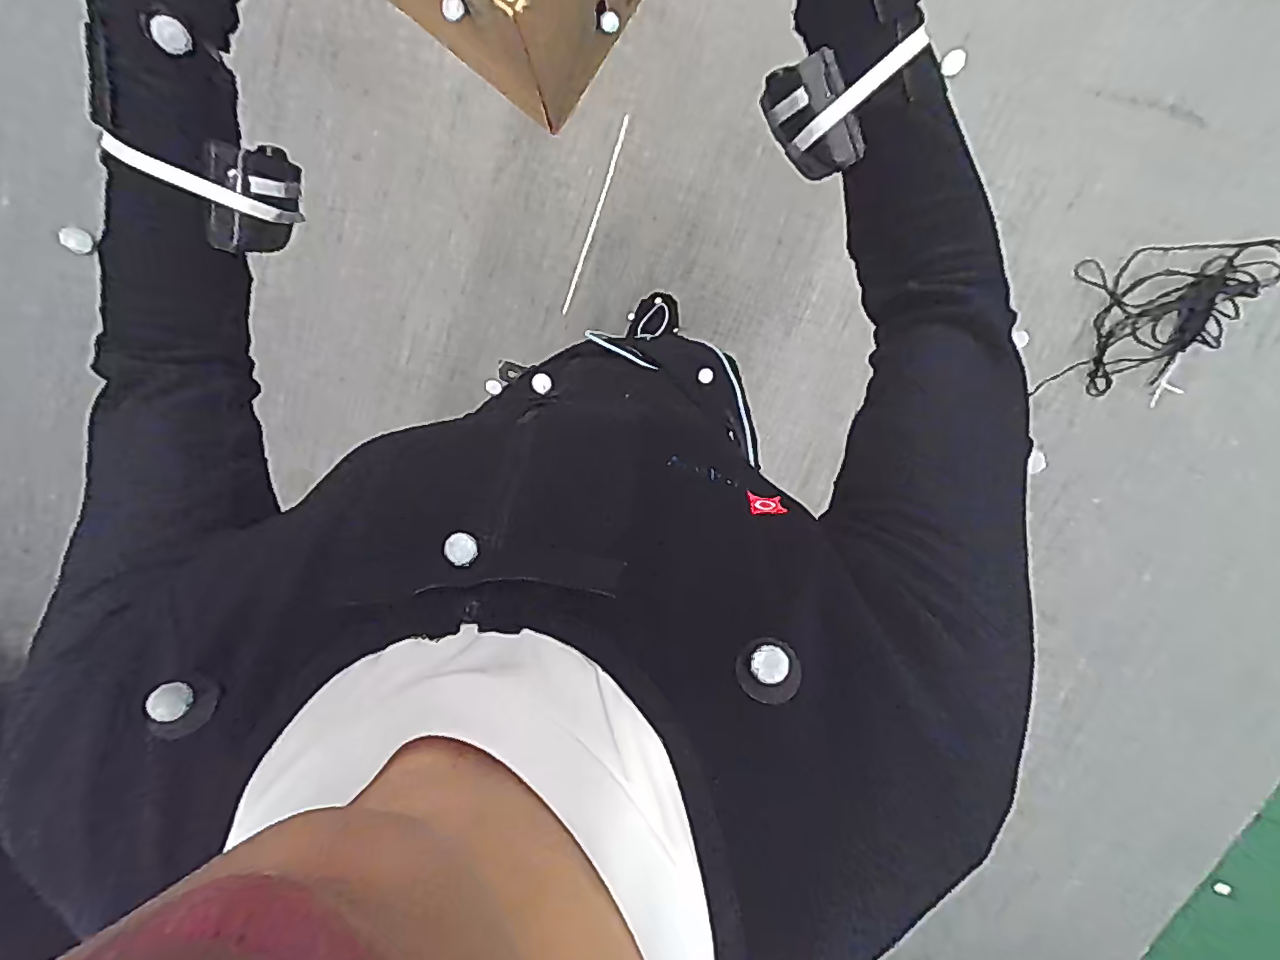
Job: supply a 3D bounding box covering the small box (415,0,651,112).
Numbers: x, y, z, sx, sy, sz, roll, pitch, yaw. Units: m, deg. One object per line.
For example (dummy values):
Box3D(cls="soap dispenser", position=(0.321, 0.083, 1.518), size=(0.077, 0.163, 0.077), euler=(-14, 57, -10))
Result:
Box3D(cls="small box", position=(-0.077, -0.375, 0.328), size=(0.179, 0.176, 0.168), euler=(36, 100, -11))
